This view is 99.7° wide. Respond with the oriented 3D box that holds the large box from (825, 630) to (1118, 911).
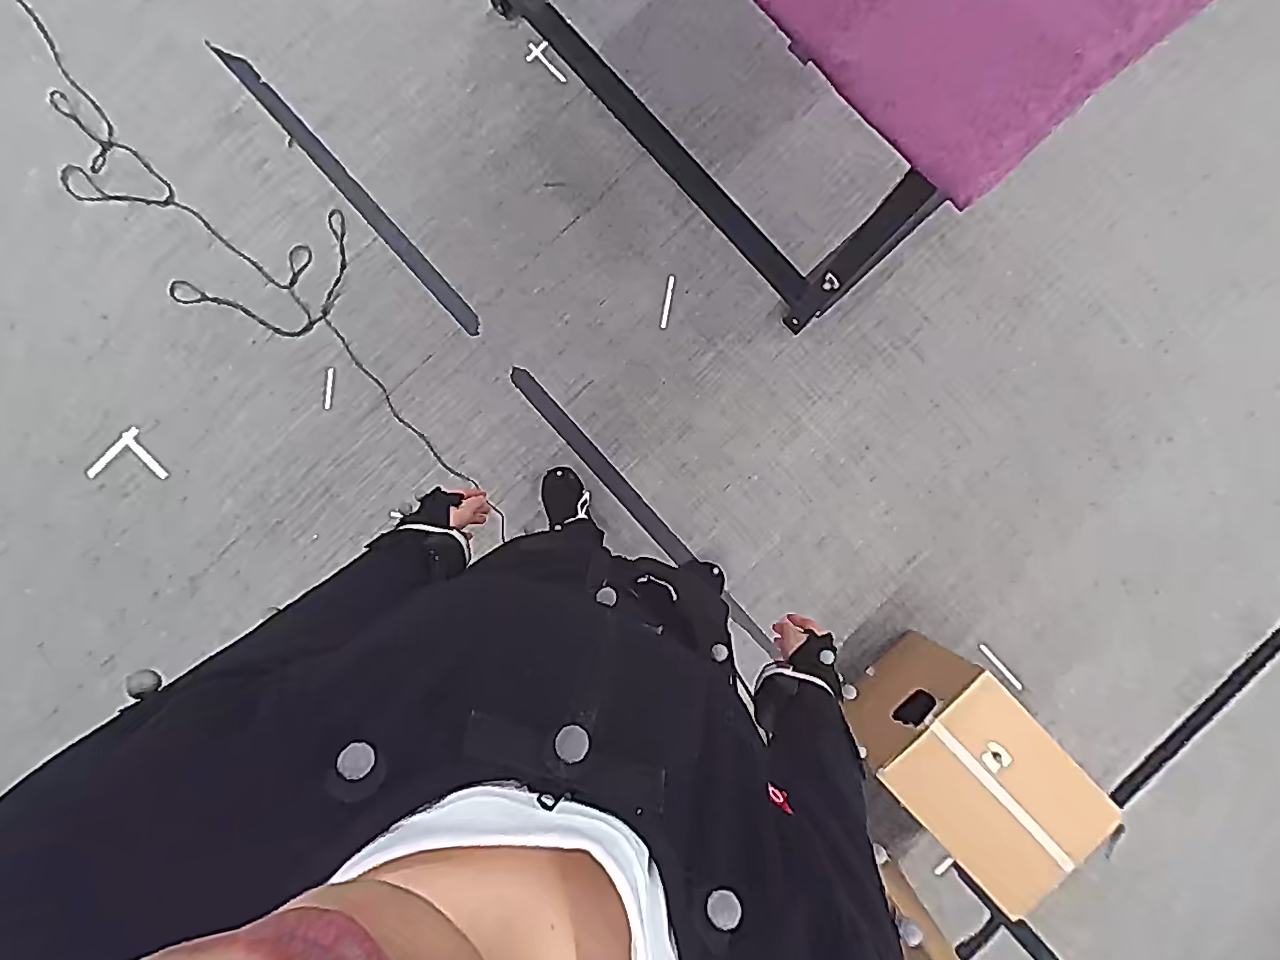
[{"bbox_3d":[0.710,0.619,1.227,0.320,0.320,0.408,-44,88,-1],"label":"large box"}]
